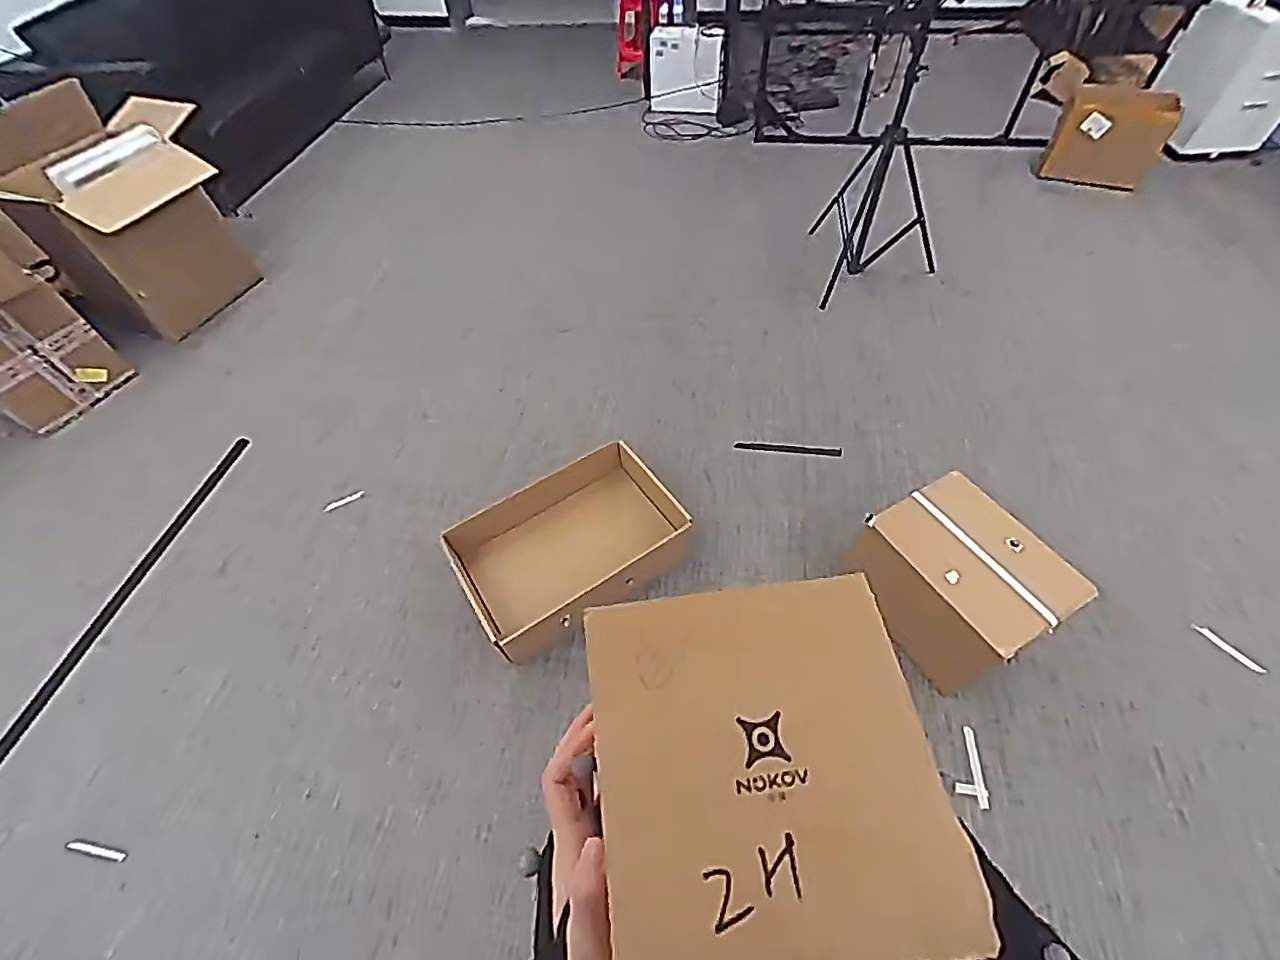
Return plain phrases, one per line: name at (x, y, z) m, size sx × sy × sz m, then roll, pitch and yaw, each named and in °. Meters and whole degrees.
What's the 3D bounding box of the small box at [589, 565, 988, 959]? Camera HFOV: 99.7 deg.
small box at (0.059, 0.172, 0.338) m, size 0.168 × 0.176 × 0.179 m, roll -7°, pitch 60°, yaw -4°
